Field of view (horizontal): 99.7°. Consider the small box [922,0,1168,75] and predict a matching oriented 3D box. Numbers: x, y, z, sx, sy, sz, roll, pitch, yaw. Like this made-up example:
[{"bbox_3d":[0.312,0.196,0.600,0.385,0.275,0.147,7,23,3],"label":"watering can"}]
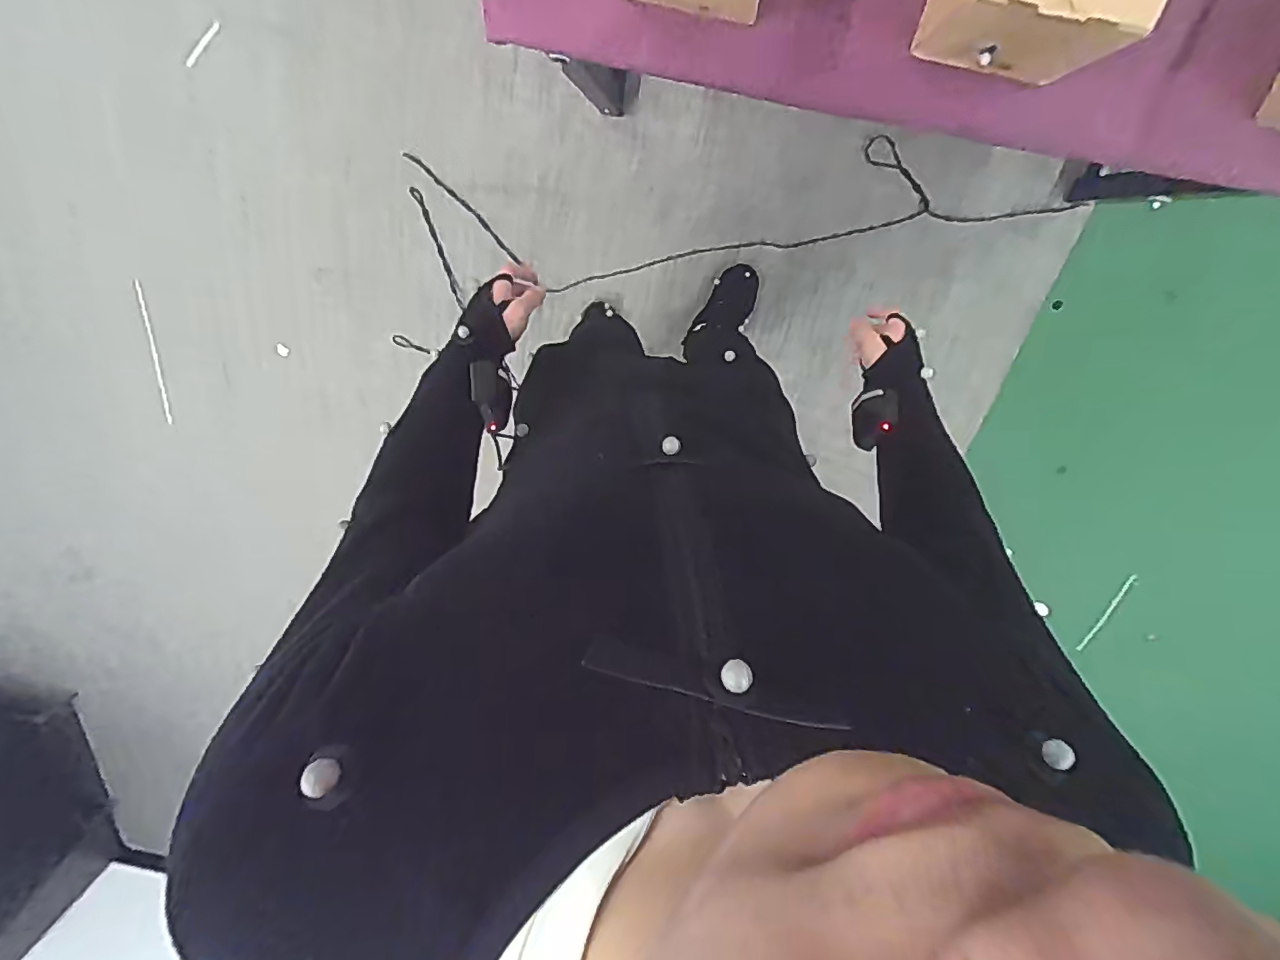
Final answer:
[{"bbox_3d":[0.403,-0.528,0.517,0.168,0.176,0.179,13,116,1],"label":"small box"}]
